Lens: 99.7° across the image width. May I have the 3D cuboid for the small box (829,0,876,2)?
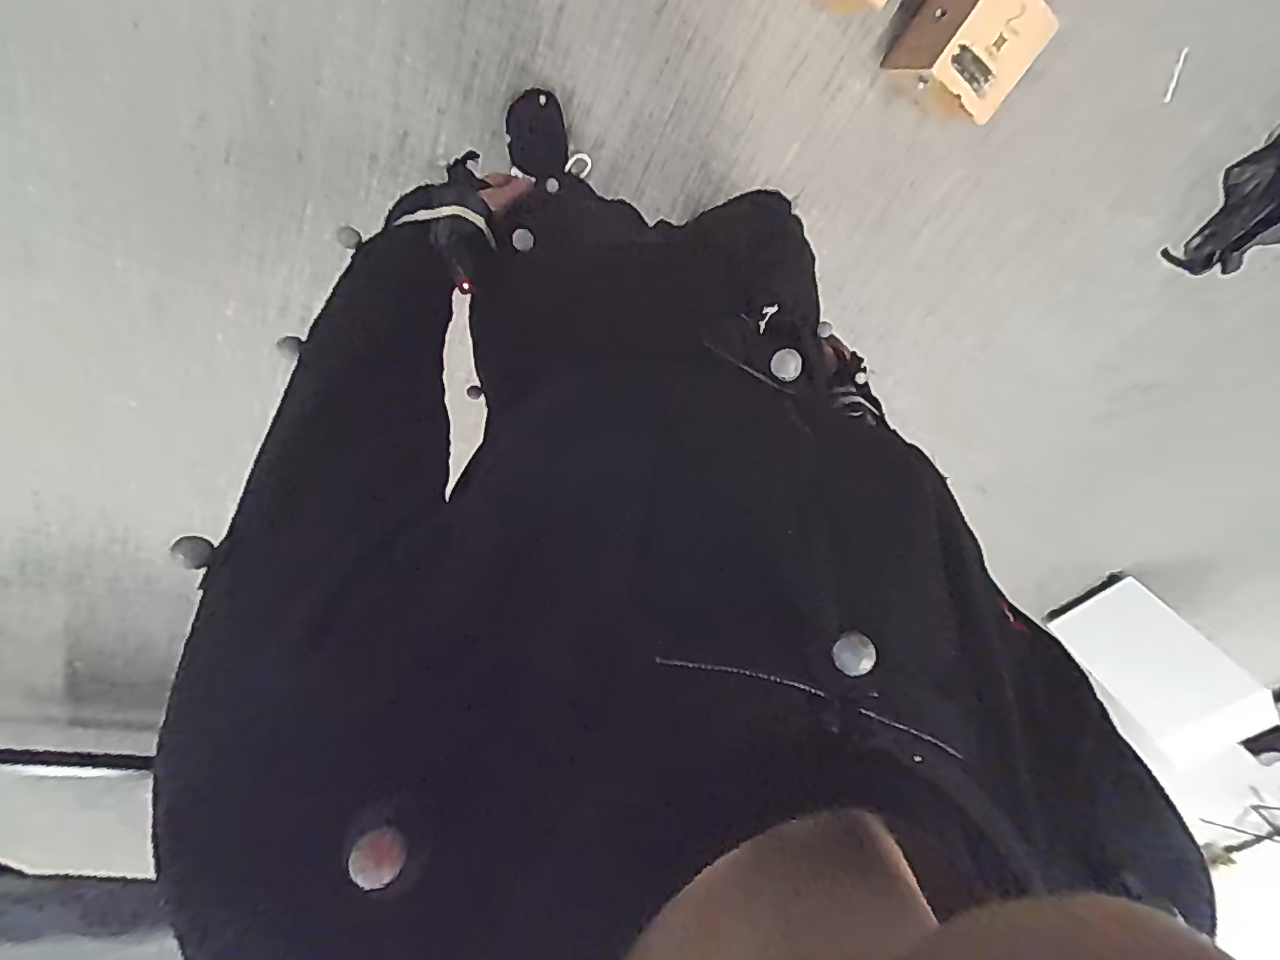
[{"bbox_3d":[0.339,-0.894,0.840,0.168,0.176,0.179,16,123,-26],"label":"small box"}]
